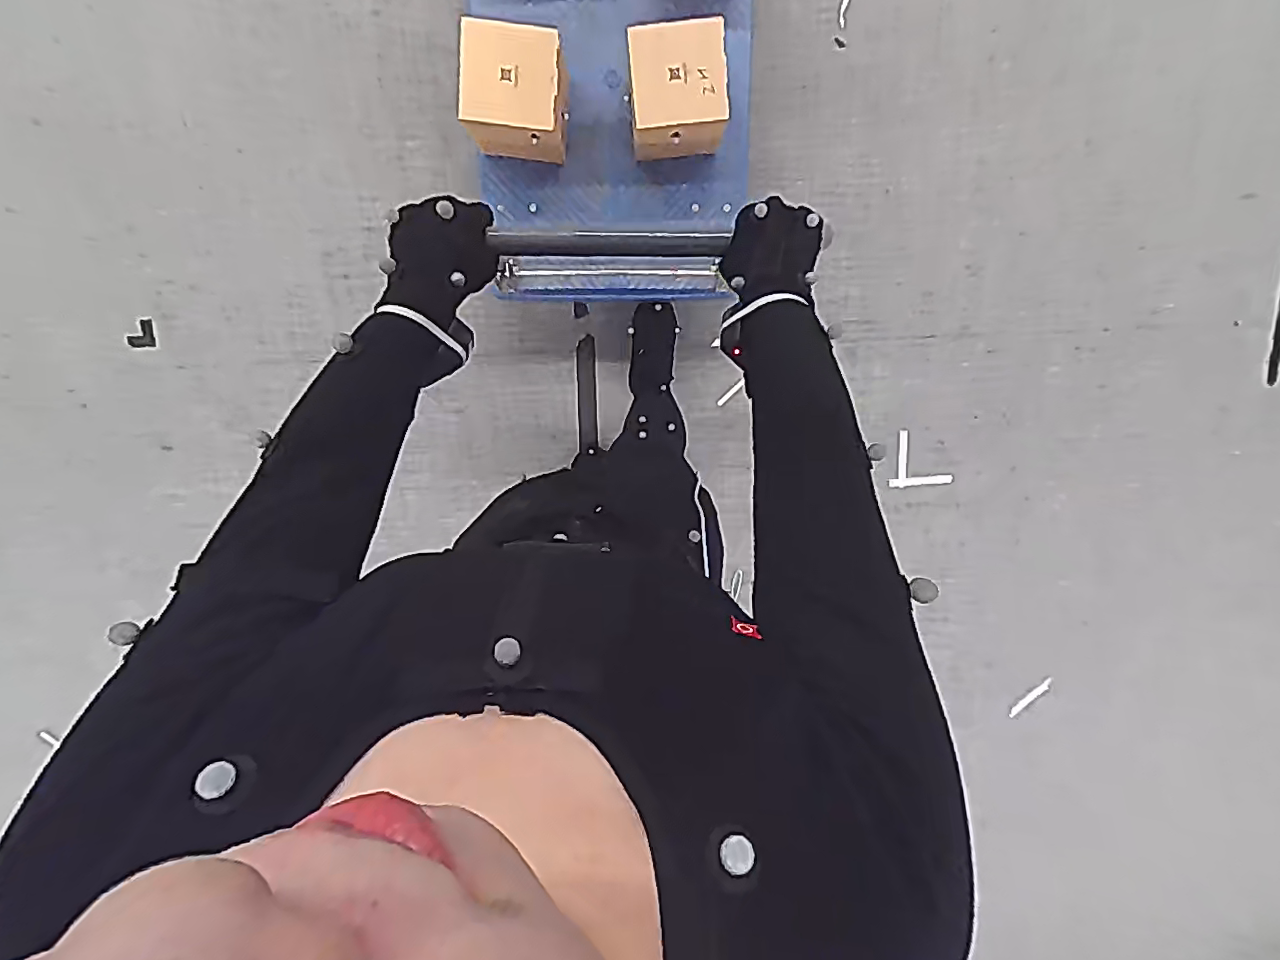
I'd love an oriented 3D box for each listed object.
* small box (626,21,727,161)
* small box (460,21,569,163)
[{"bbox_3d":[0.068,-0.748,1.059,0.179,0.176,0.168,-6,103,0],"label":"small box"},{"bbox_3d":[-0.239,-0.743,1.054,0.179,0.176,0.168,5,102,-4],"label":"small box"}]
